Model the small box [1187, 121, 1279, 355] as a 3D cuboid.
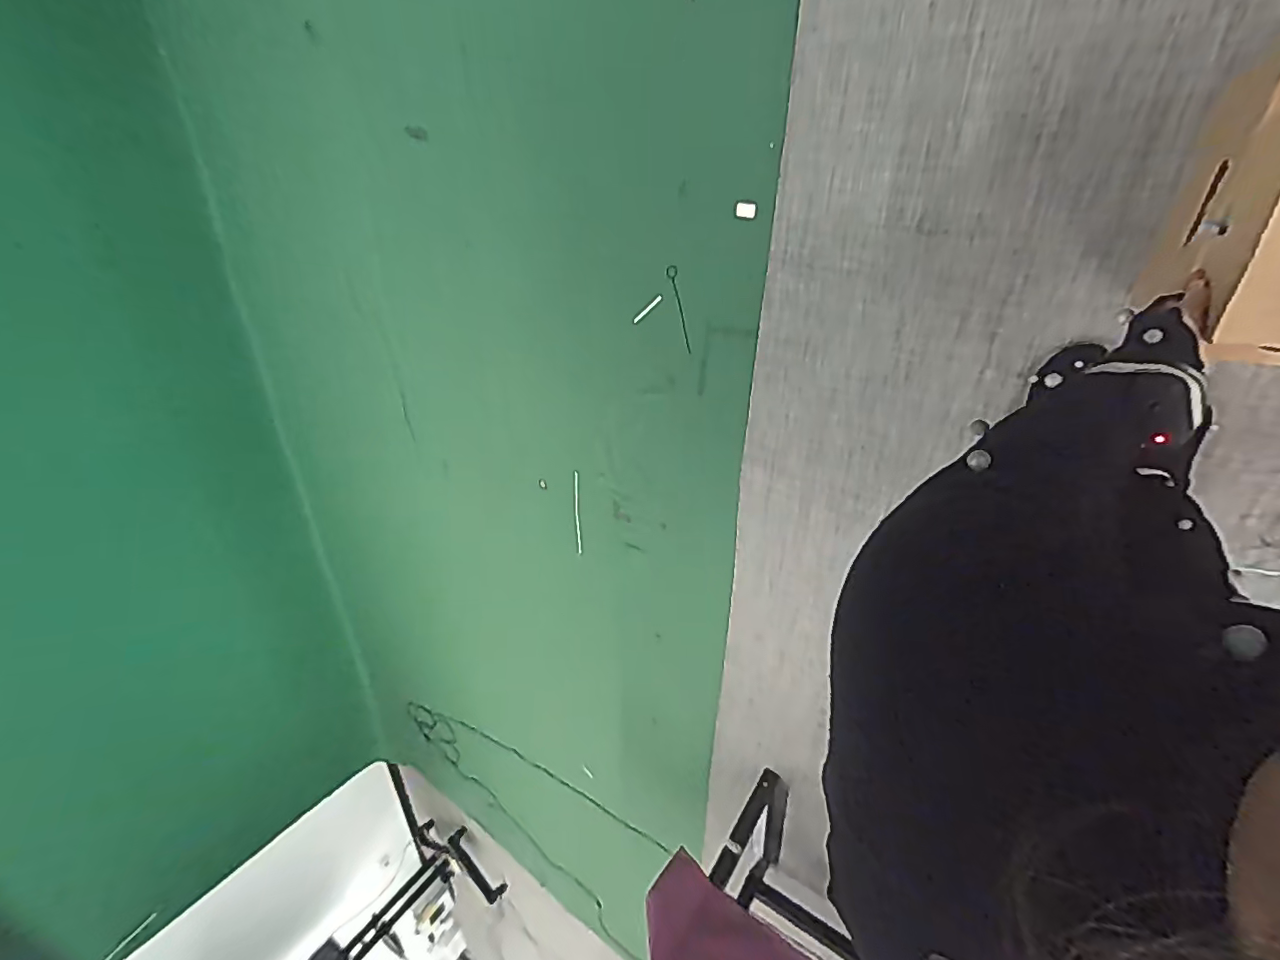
[{"bbox_3d":[0.611,-0.208,0.457,0.168,0.176,0.179,17,124,30],"label":"small box"}]
